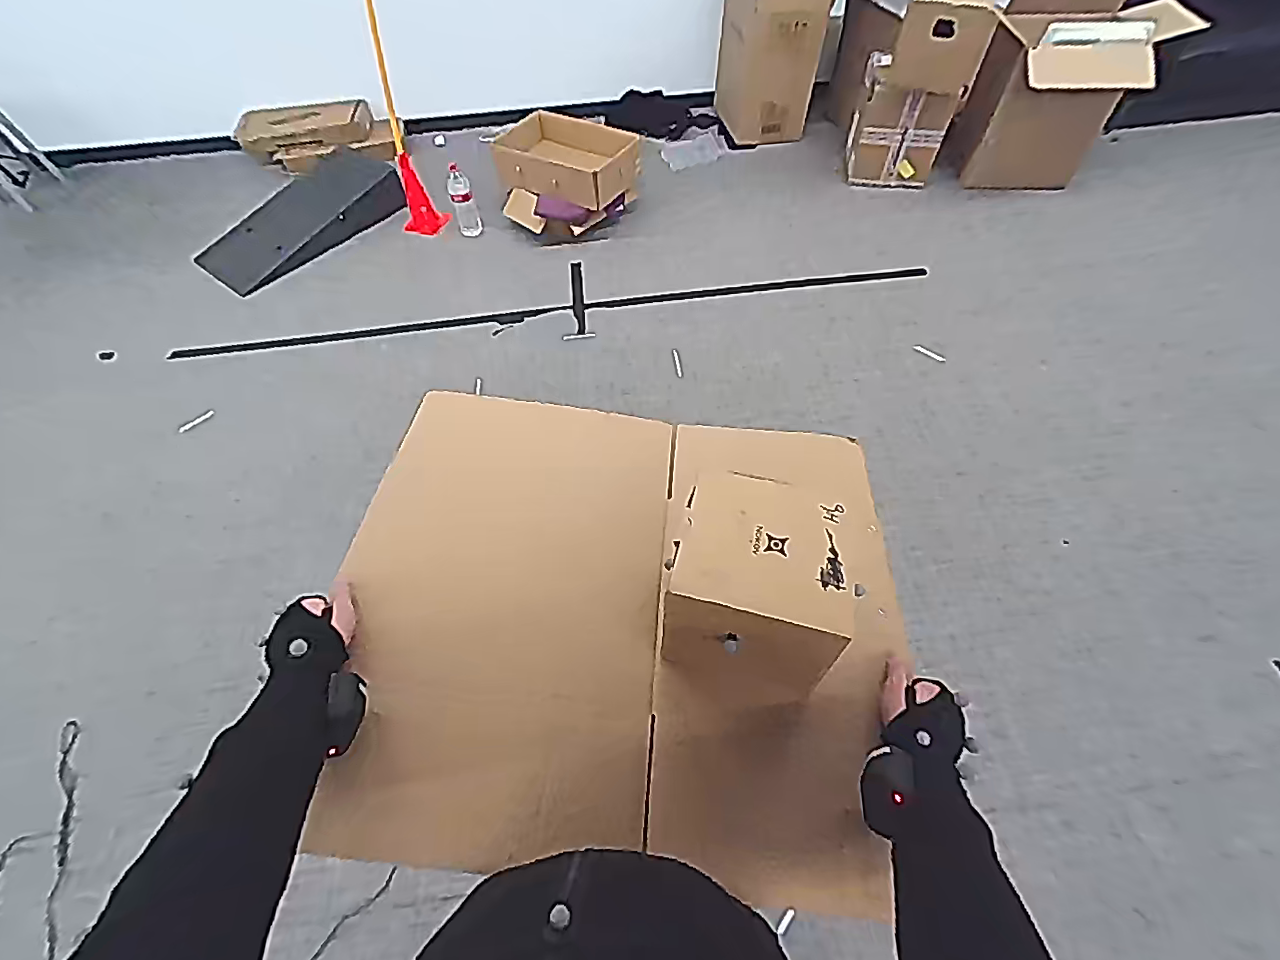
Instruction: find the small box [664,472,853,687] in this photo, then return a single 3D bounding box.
[{"bbox_3d":[0.130,0.117,0.619,0.179,0.176,0.168,11,53,10],"label":"small box"}]
